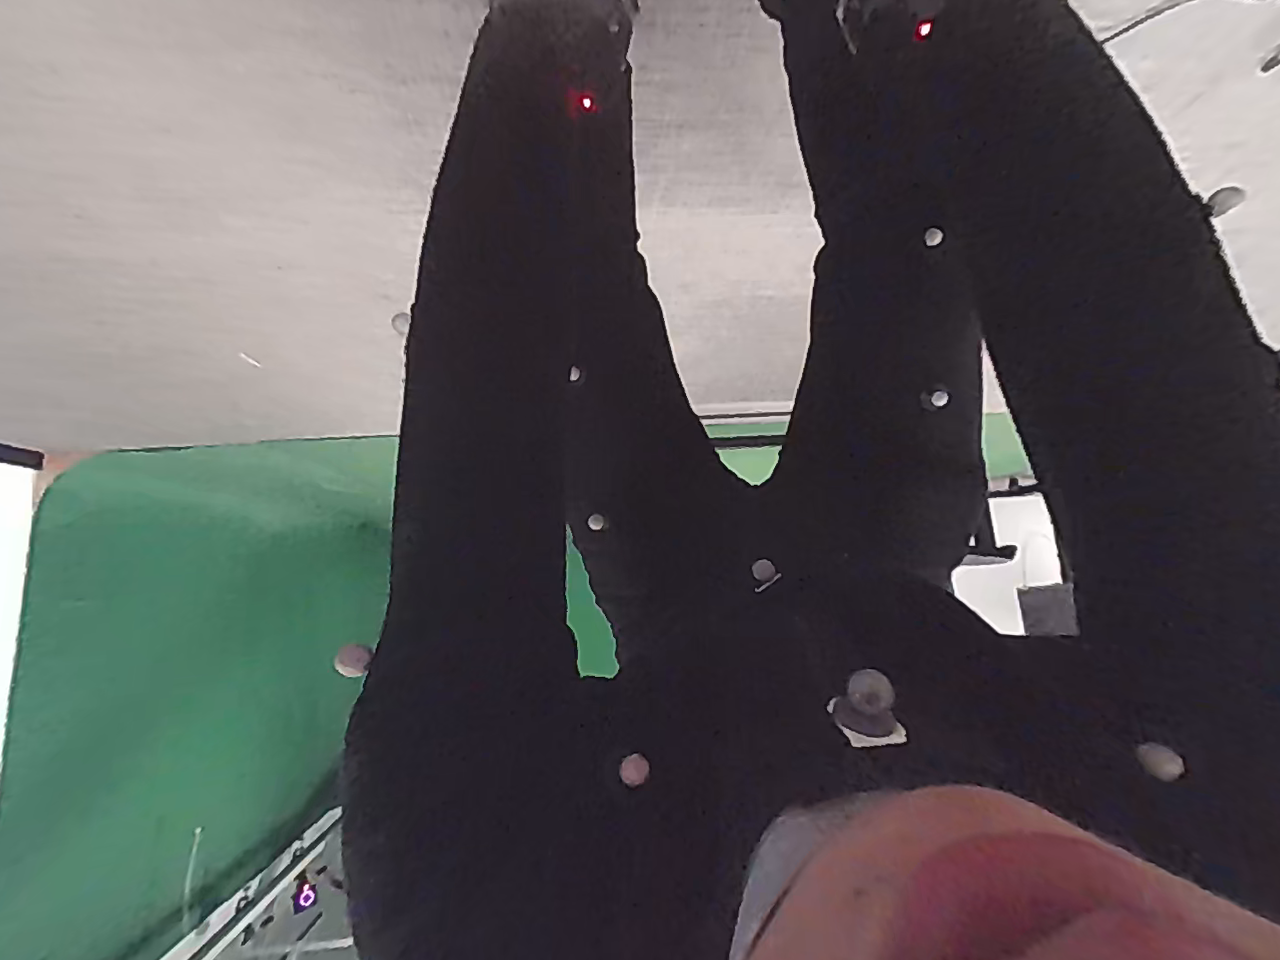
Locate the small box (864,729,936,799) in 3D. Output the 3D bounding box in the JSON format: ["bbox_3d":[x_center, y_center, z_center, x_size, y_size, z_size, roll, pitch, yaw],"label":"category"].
[{"bbox_3d":[0.917,1.008,1.929,0.168,0.176,0.179,-3,171,-2],"label":"small box"}]
